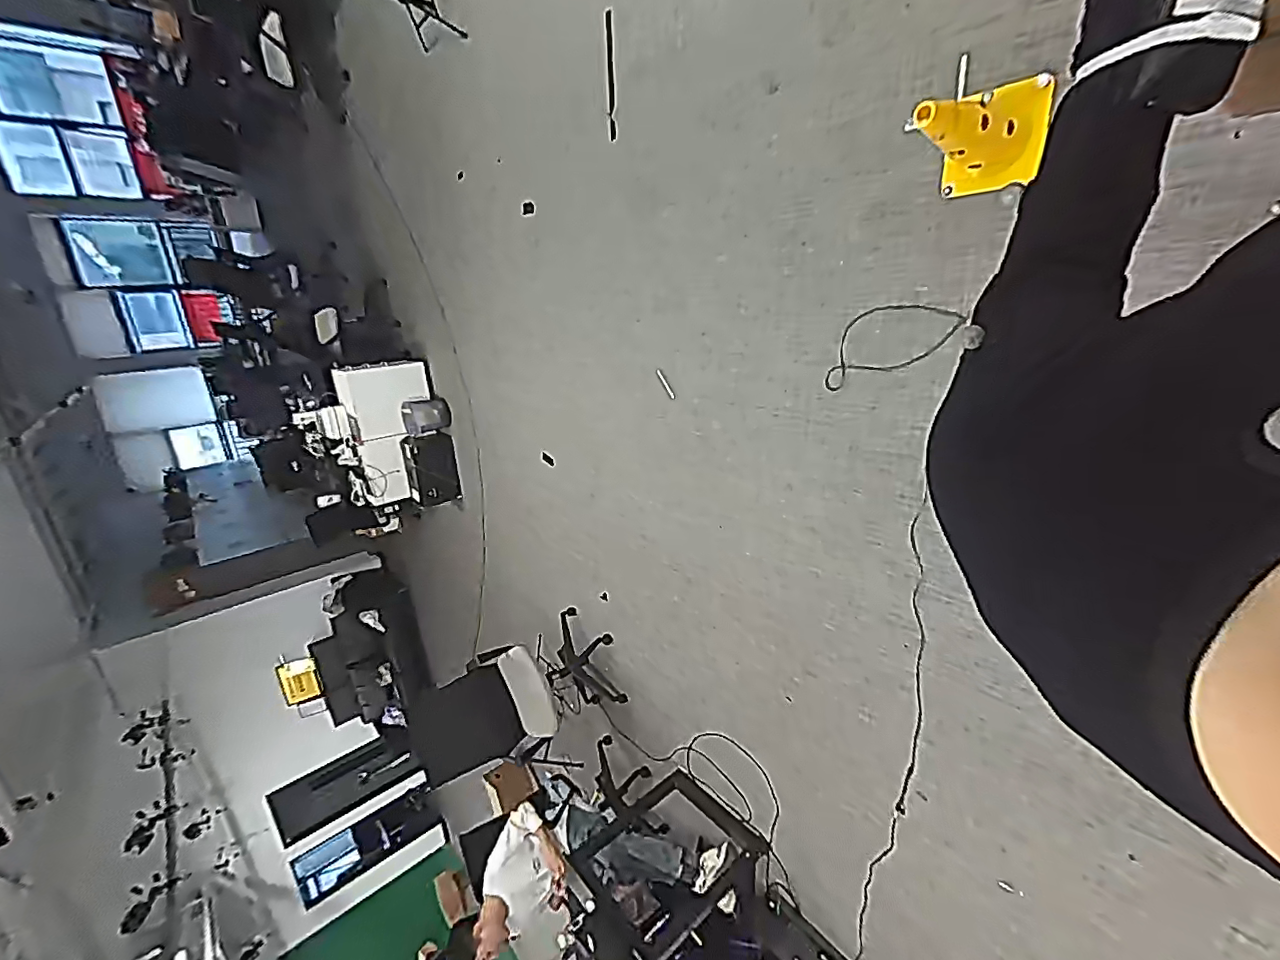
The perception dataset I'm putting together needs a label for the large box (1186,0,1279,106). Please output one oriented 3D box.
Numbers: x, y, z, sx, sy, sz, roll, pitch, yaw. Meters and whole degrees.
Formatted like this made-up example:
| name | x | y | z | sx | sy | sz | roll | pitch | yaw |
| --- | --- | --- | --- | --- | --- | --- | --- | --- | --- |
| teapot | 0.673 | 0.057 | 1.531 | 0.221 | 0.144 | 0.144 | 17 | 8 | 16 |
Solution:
| name | x | y | z | sx | sy | sz | roll | pitch | yaw |
| --- | --- | --- | --- | --- | --- | --- | --- | --- | --- |
| large box | 0.597 | -0.443 | 0.266 | 0.408 | 0.320 | 0.320 | 17 | 119 | 46 |
